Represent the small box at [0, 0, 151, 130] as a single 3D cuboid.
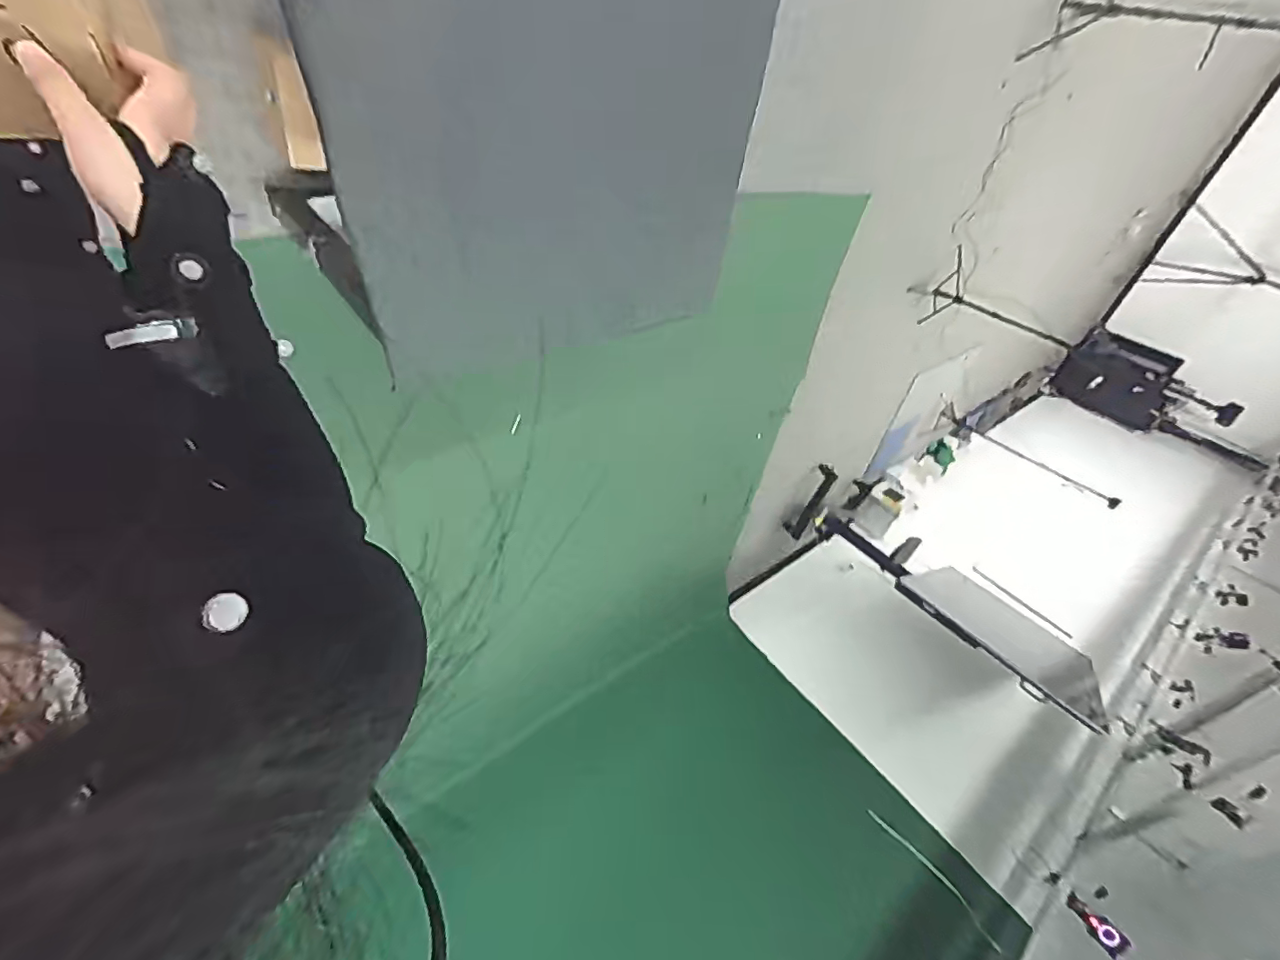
[{"bbox_3d":[-0.435,-0.334,0.316,0.179,0.176,0.168,-13,148,-21],"label":"small box"}]
